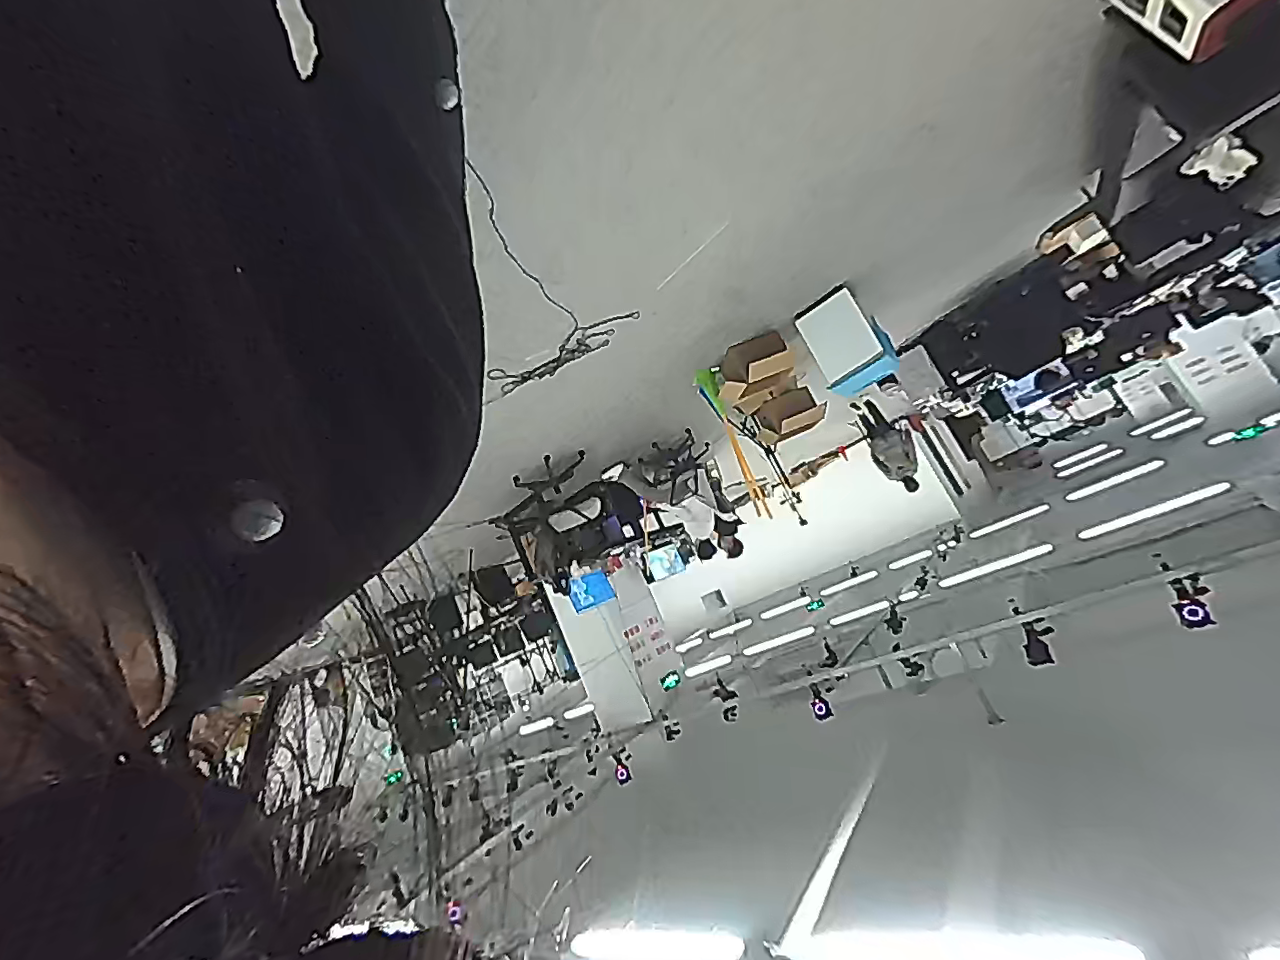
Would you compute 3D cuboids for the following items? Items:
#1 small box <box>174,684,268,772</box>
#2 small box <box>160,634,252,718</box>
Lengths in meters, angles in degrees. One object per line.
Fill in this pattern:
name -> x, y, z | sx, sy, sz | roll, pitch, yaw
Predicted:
small box -> -1.279, 0.748, 1.644 | 0.168, 0.176, 0.179 | -34, 165, 32
small box -> -1.348, 0.602, 1.675 | 0.168, 0.176, 0.179 | -35, 165, 34
